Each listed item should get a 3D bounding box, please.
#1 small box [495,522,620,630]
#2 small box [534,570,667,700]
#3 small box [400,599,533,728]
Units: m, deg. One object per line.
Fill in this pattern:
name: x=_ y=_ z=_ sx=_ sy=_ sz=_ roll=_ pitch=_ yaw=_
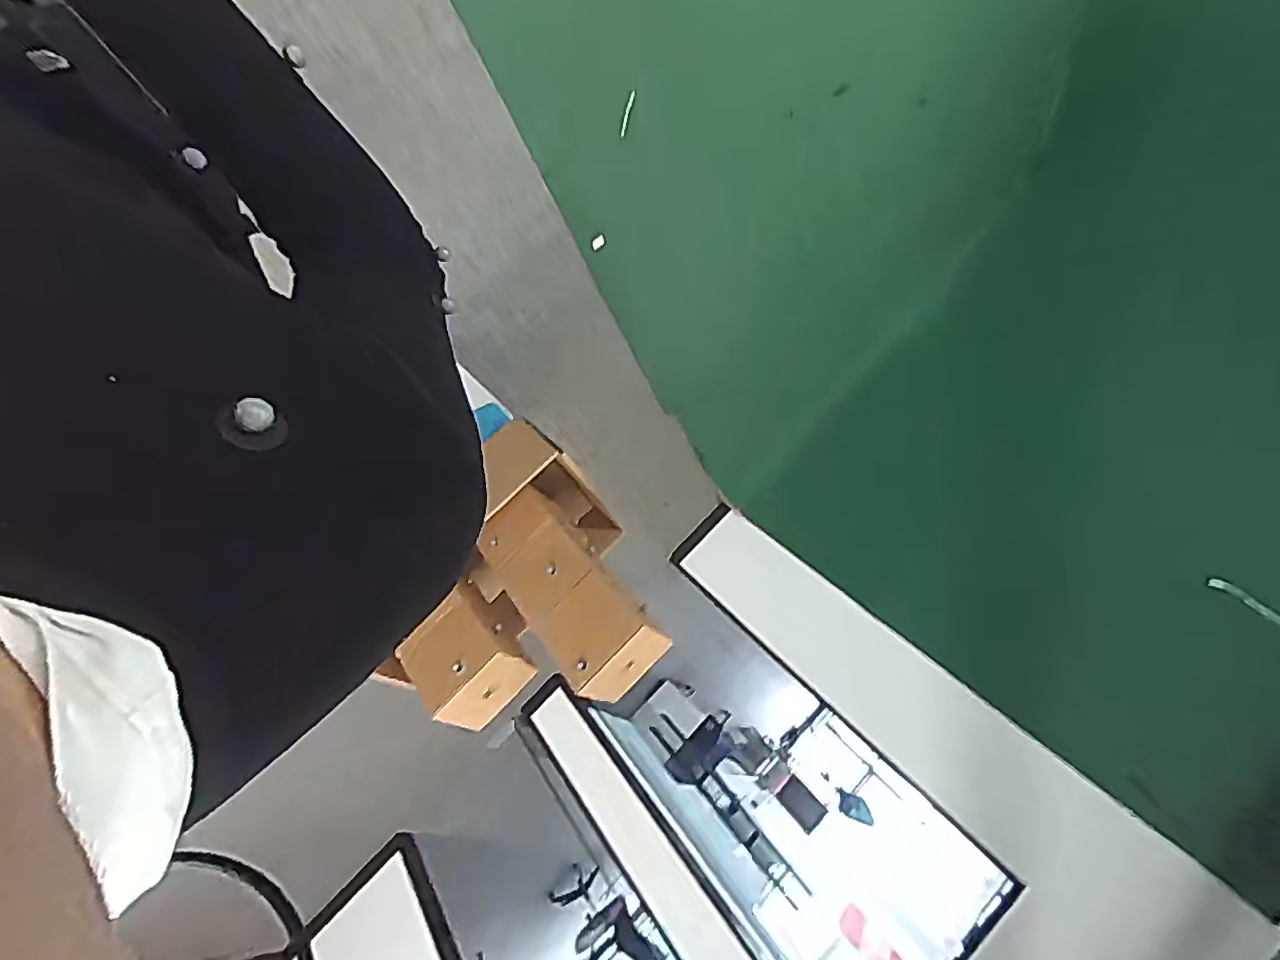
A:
small box: x=-0.181 y=0.221 z=1.184 sx=0.179 sy=0.176 sz=0.168 roll=-46 pitch=144 yaw=-3
small box: x=-0.081 y=0.311 z=1.091 sx=0.179 sy=0.176 sz=0.168 roll=-45 pitch=145 yaw=-1
small box: x=-0.365 y=0.381 z=1.134 sx=0.179 sy=0.176 sz=0.168 roll=-44 pitch=144 yaw=-9
